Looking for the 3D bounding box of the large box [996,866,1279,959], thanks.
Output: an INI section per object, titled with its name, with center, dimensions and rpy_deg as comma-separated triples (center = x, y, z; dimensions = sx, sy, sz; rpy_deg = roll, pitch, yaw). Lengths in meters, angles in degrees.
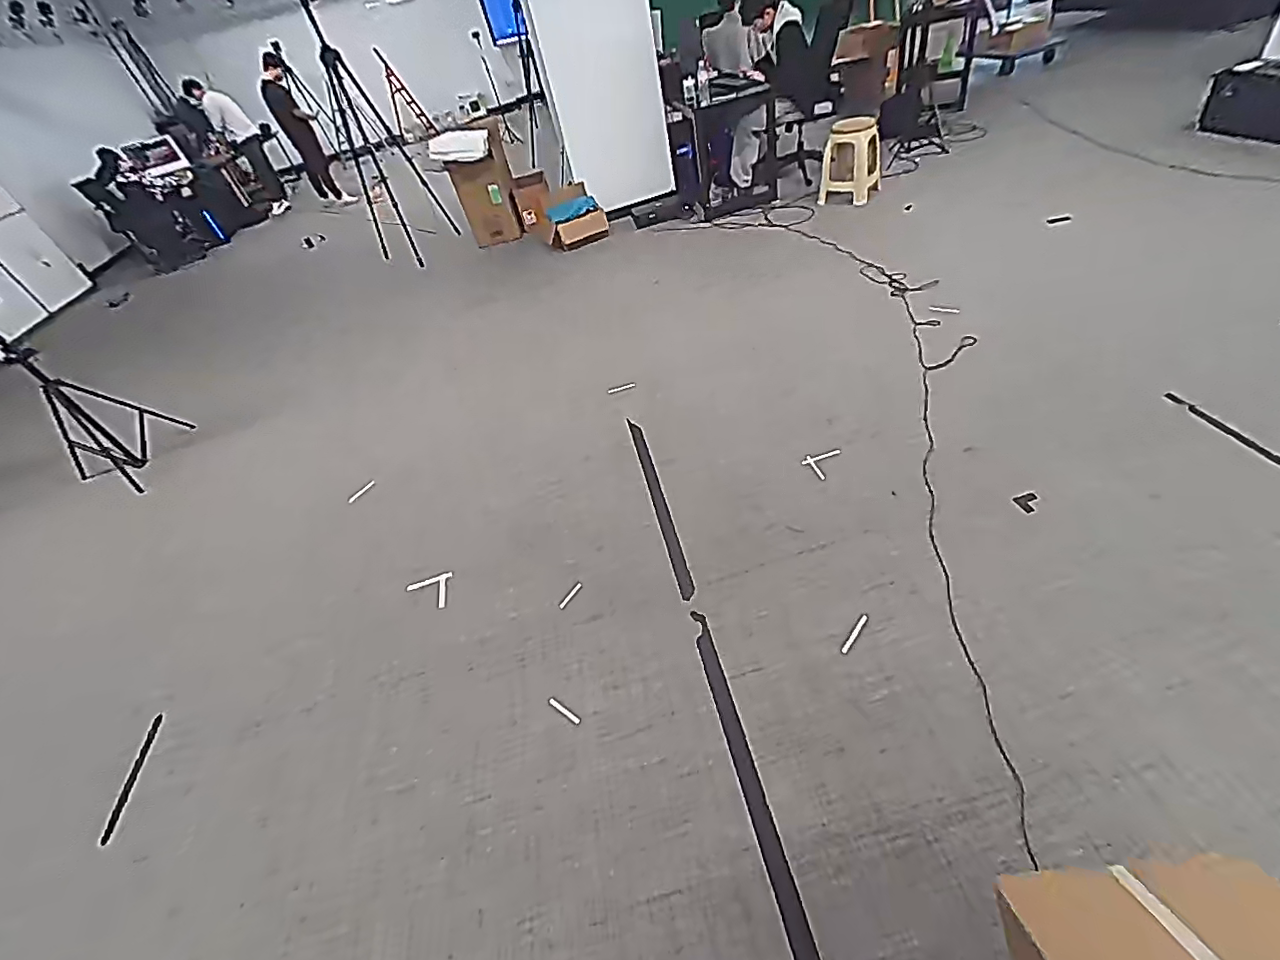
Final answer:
[large box]
center = 0.636, 0.677, 0.528
dimensions = 0.320, 0.320, 0.408
rpy_deg = -12, -2, 9
